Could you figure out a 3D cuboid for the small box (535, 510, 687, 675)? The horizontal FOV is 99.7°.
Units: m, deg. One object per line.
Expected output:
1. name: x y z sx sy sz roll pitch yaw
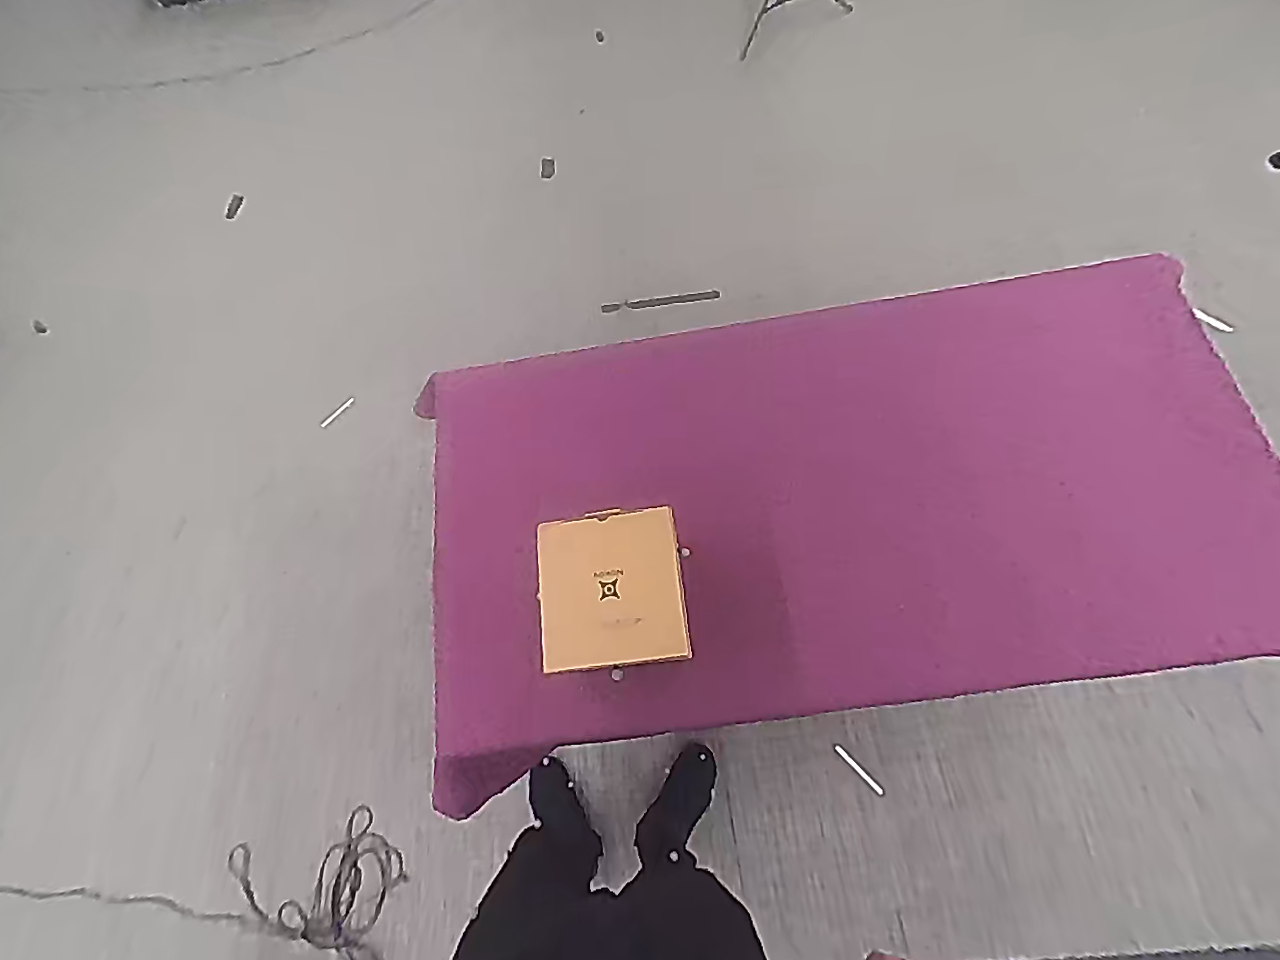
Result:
1. small box: -0.031 0.152 0.692 0.168 0.176 0.179 -8 70 5
